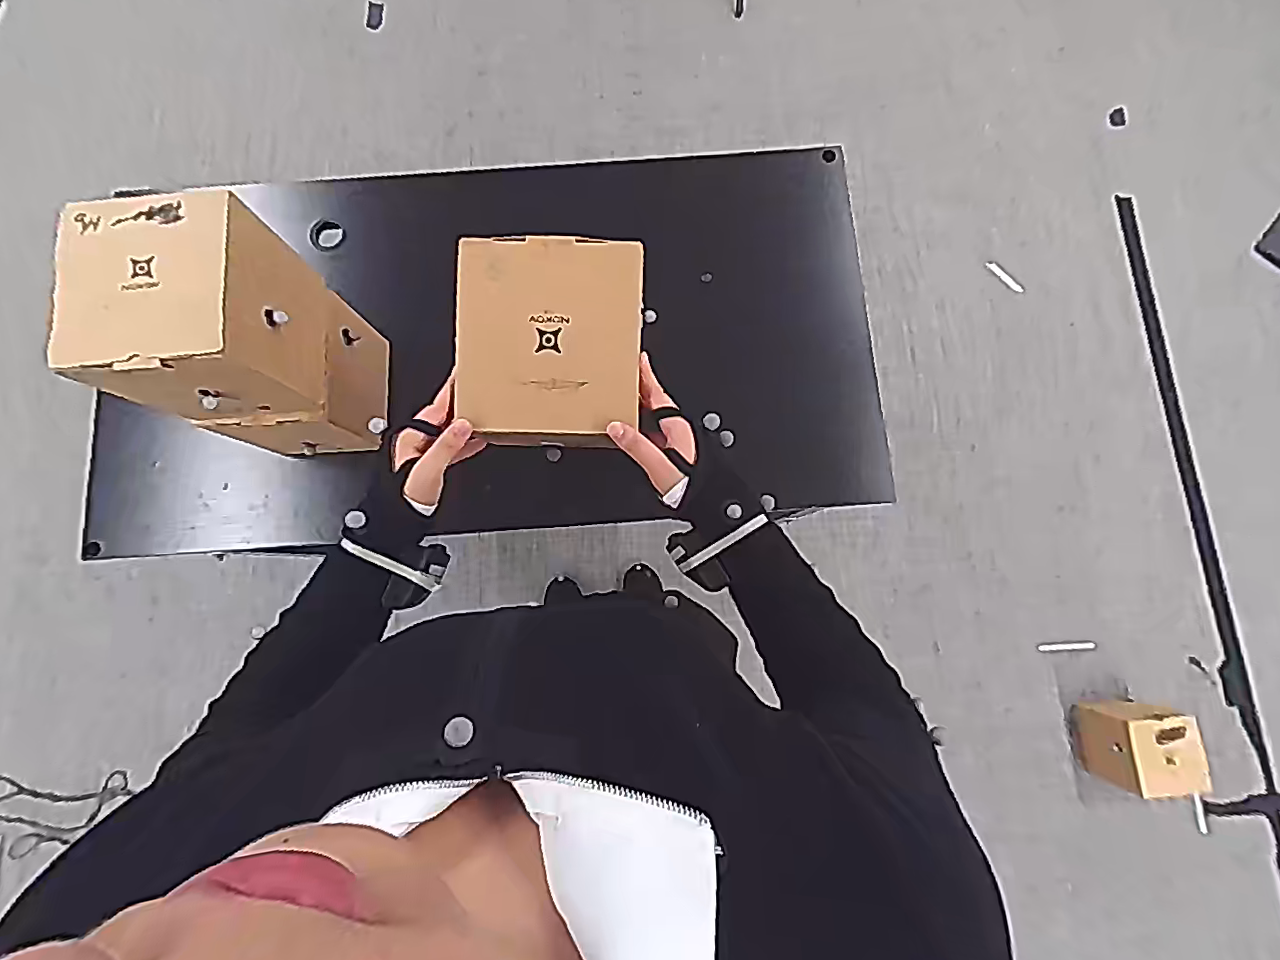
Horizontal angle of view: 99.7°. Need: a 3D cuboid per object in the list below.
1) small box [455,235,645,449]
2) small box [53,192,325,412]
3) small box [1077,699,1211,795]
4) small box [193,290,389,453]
[{"bbox_3d":[-0.081,-0.128,0.561,0.168,0.176,0.179,1,89,0],"label":"small box"},{"bbox_3d":[-0.475,-0.180,0.598,0.168,0.176,0.179,-5,81,-1],"label":"small box"},{"bbox_3d":[1.246,0.657,1.352,0.168,0.176,0.179,-5,81,0],"label":"small box"},{"bbox_3d":[-0.471,-0.143,0.758,0.168,0.176,0.179,-3,80,0],"label":"small box"}]
